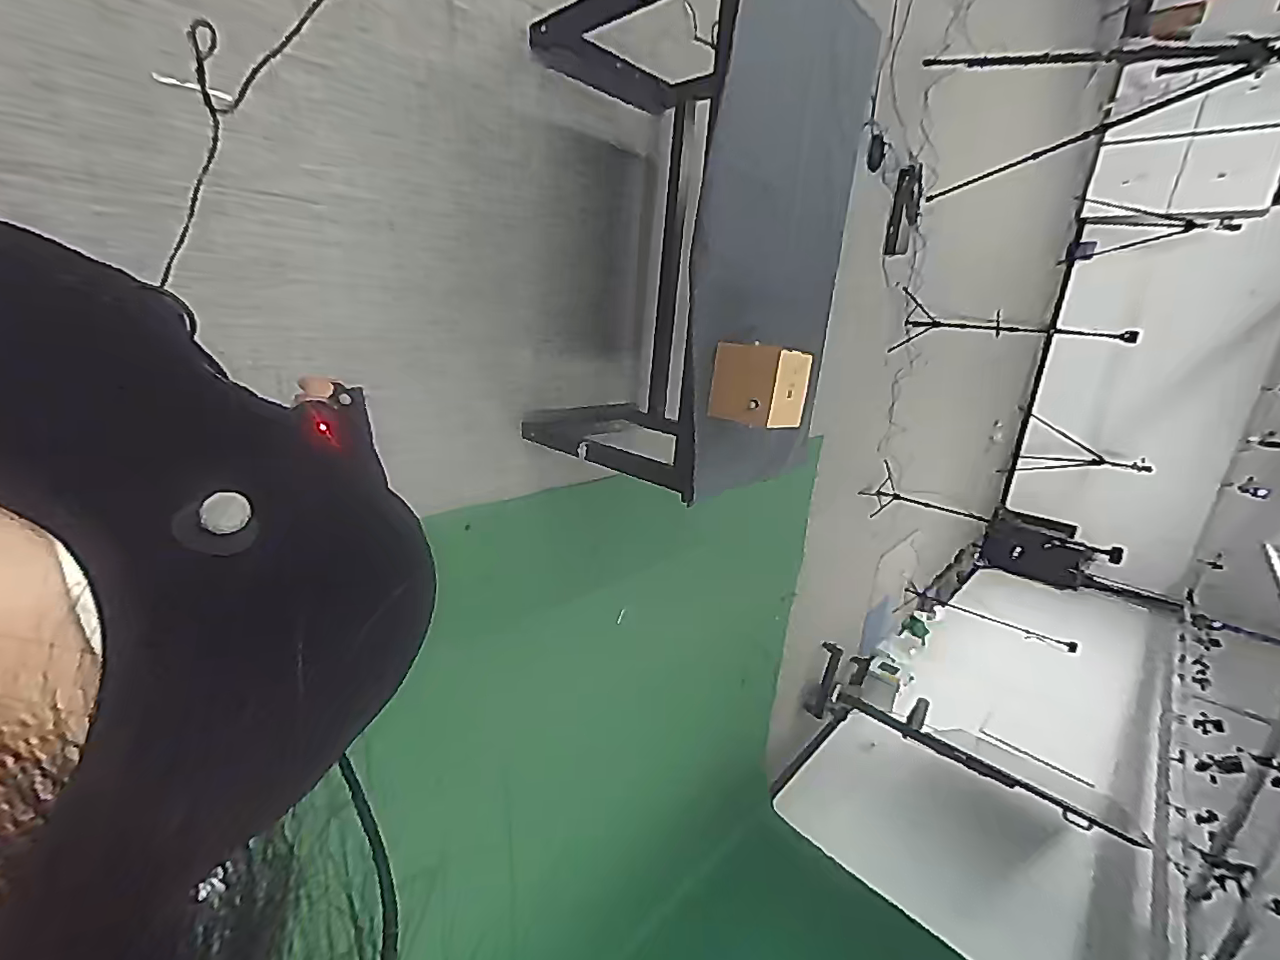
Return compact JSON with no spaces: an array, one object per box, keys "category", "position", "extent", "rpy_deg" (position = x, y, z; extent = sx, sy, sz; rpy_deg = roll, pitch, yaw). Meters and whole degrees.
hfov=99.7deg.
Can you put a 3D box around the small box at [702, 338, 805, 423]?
[{"category":"small box","position":[0.267,-0.237,1.291],"extent":[0.168,0.176,0.179],"rpy_deg":[-8,109,-49]}]
